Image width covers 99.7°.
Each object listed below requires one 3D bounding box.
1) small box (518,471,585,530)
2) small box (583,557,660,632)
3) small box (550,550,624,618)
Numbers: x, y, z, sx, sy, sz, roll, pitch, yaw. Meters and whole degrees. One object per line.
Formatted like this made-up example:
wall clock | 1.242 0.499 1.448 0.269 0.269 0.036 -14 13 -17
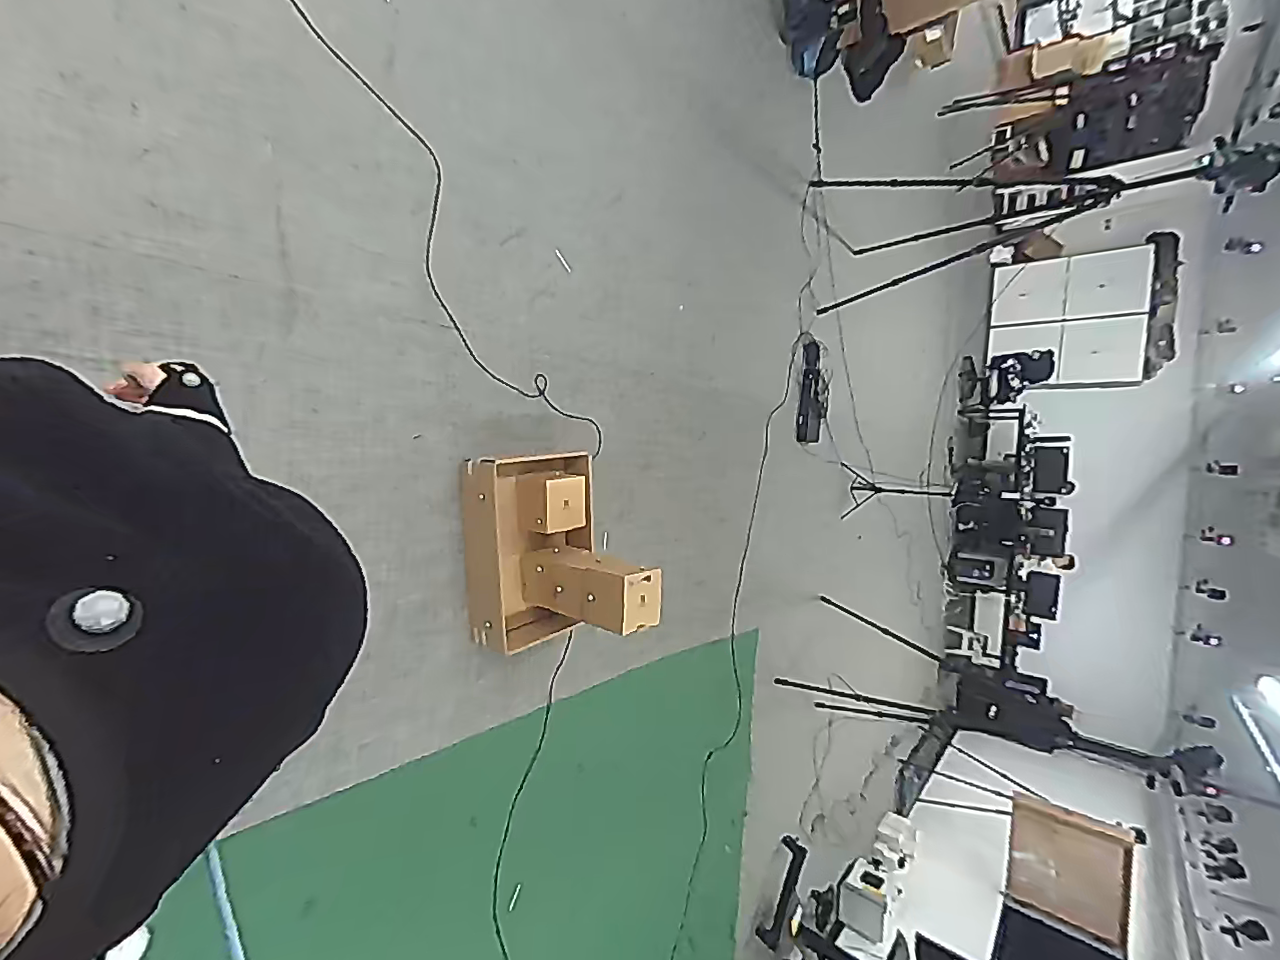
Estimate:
small box | -0.302 0.063 1.836 0.168 0.176 0.179 -9 102 -47
small box | -0.058 0.342 1.647 0.168 0.176 0.179 -1 95 -49
small box | -0.173 0.331 1.766 0.179 0.176 0.168 -7 99 -48
